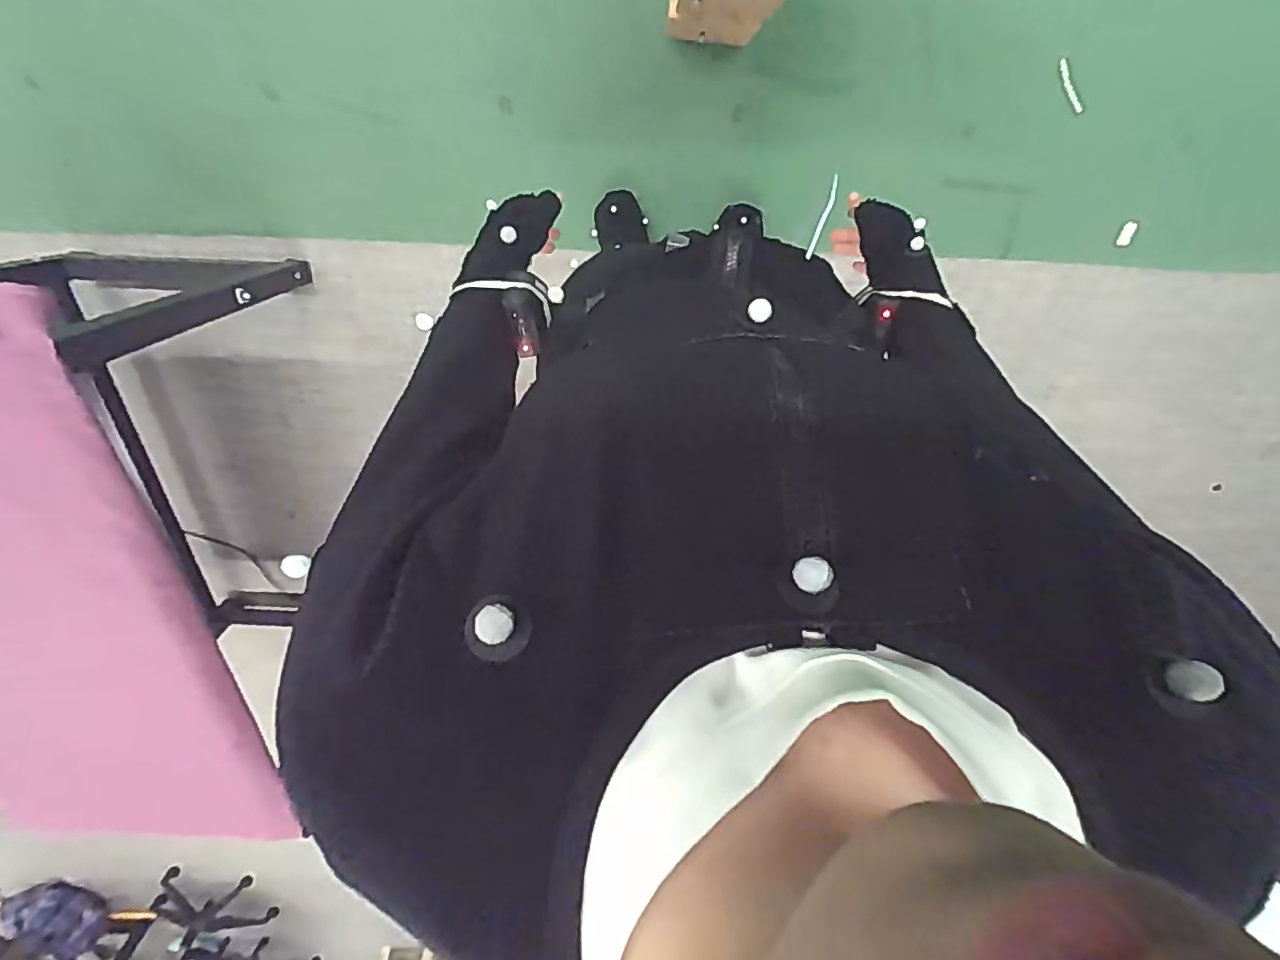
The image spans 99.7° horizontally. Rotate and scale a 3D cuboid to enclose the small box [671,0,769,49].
[{"bbox_3d":[0.147,-0.918,0.985,0.168,0.176,0.179,4,121,-2],"label":"small box"}]
